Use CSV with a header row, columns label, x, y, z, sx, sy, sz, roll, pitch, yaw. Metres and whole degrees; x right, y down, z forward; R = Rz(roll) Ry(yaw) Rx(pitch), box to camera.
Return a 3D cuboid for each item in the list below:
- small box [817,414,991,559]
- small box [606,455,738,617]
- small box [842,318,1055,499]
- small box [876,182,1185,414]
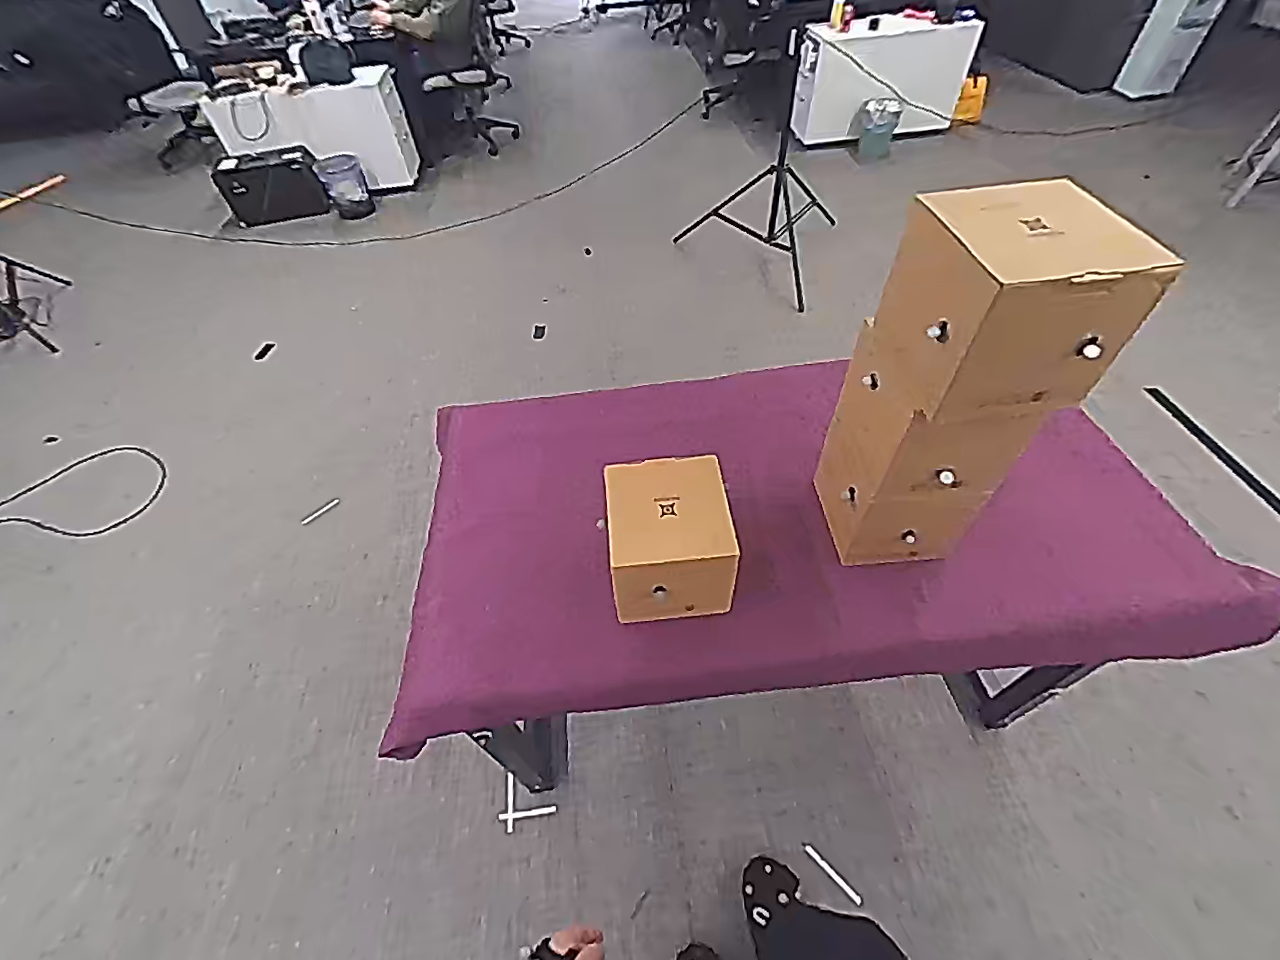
label,x,y,z,sx,sy,sz,roll,pitch,yaw
small box,0.388,0.011,0.832,0.168,0.176,0.179,-4,50,0
small box,0.043,0.088,0.792,0.168,0.176,0.179,-6,49,-1
small box,0.382,-0.097,0.707,0.168,0.176,0.179,-5,51,0
small box,0.378,-0.183,0.569,0.168,0.176,0.179,-7,50,-3
